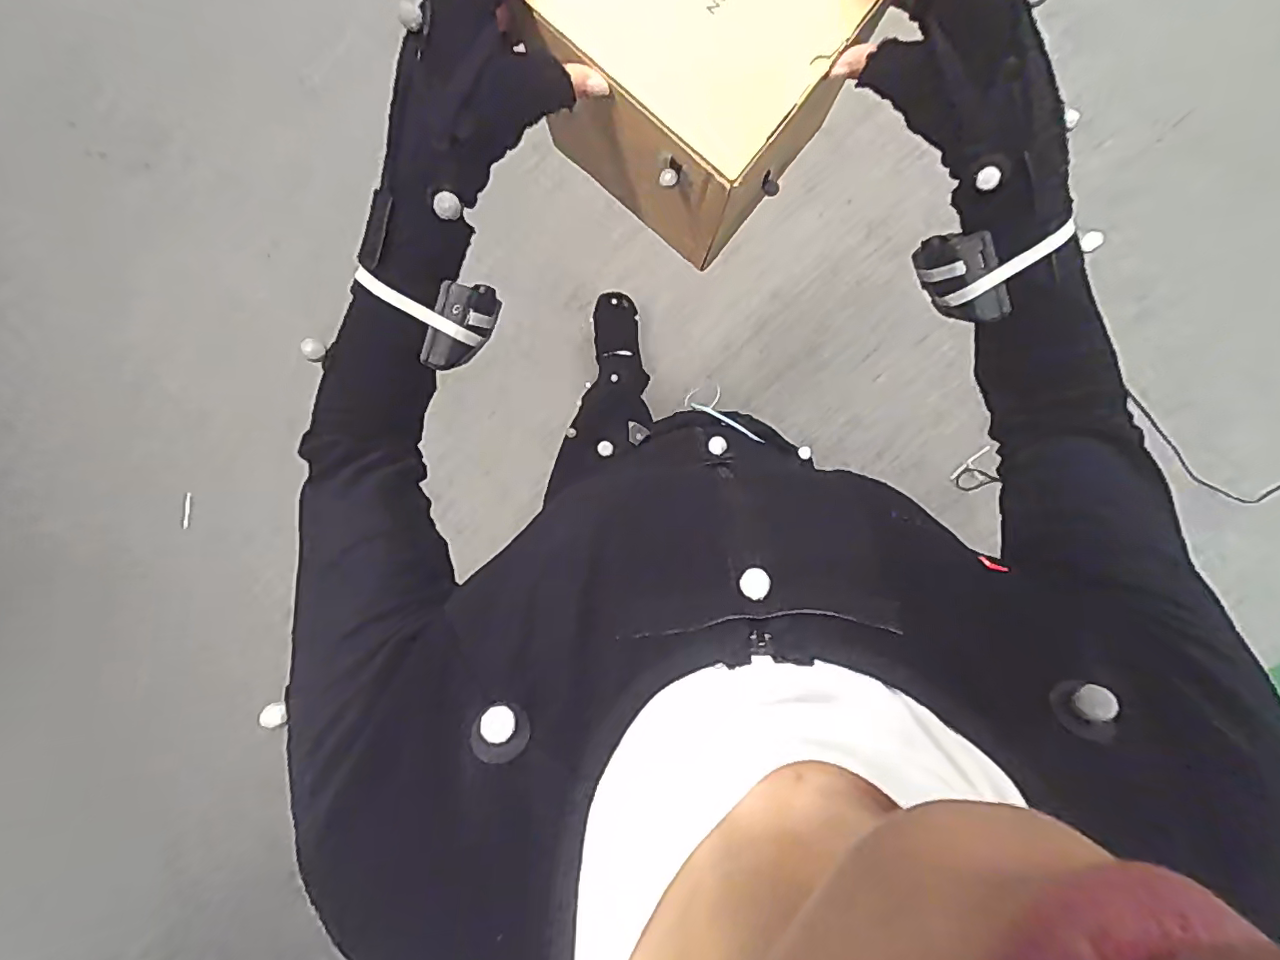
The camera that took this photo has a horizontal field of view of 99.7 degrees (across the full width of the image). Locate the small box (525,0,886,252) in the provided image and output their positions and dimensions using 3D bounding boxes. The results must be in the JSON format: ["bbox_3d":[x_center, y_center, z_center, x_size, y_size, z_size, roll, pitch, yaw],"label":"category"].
[{"bbox_3d":[0.039,-0.305,0.400,0.179,0.176,0.168,40,93,-4],"label":"small box"}]
